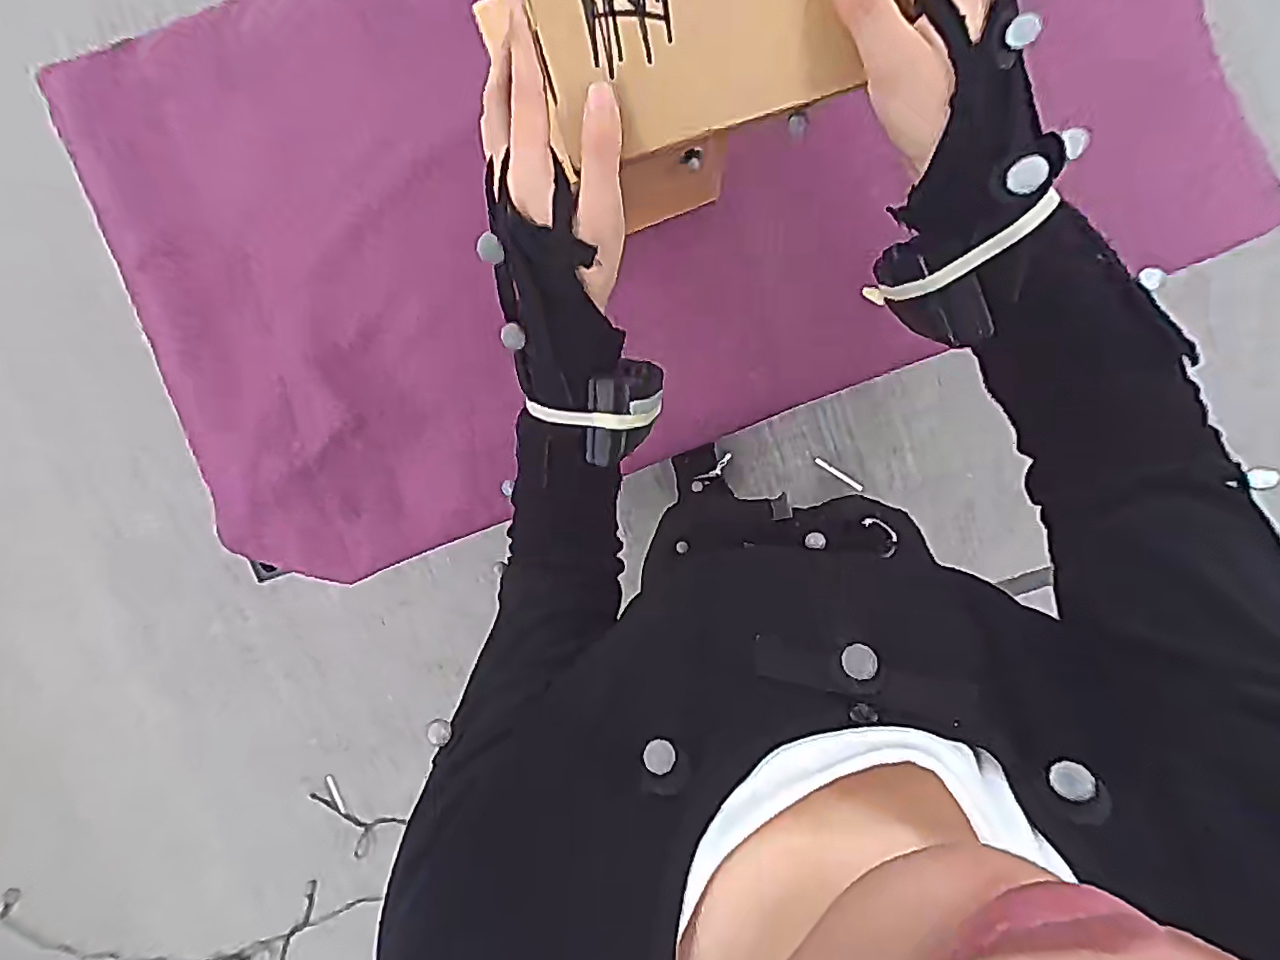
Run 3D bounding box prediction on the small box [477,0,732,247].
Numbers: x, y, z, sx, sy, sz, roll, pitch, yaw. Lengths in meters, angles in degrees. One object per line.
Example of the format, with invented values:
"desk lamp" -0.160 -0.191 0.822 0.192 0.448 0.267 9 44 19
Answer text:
"small box" -0.025 -0.356 0.527 0.179 0.176 0.168 -20 94 4
